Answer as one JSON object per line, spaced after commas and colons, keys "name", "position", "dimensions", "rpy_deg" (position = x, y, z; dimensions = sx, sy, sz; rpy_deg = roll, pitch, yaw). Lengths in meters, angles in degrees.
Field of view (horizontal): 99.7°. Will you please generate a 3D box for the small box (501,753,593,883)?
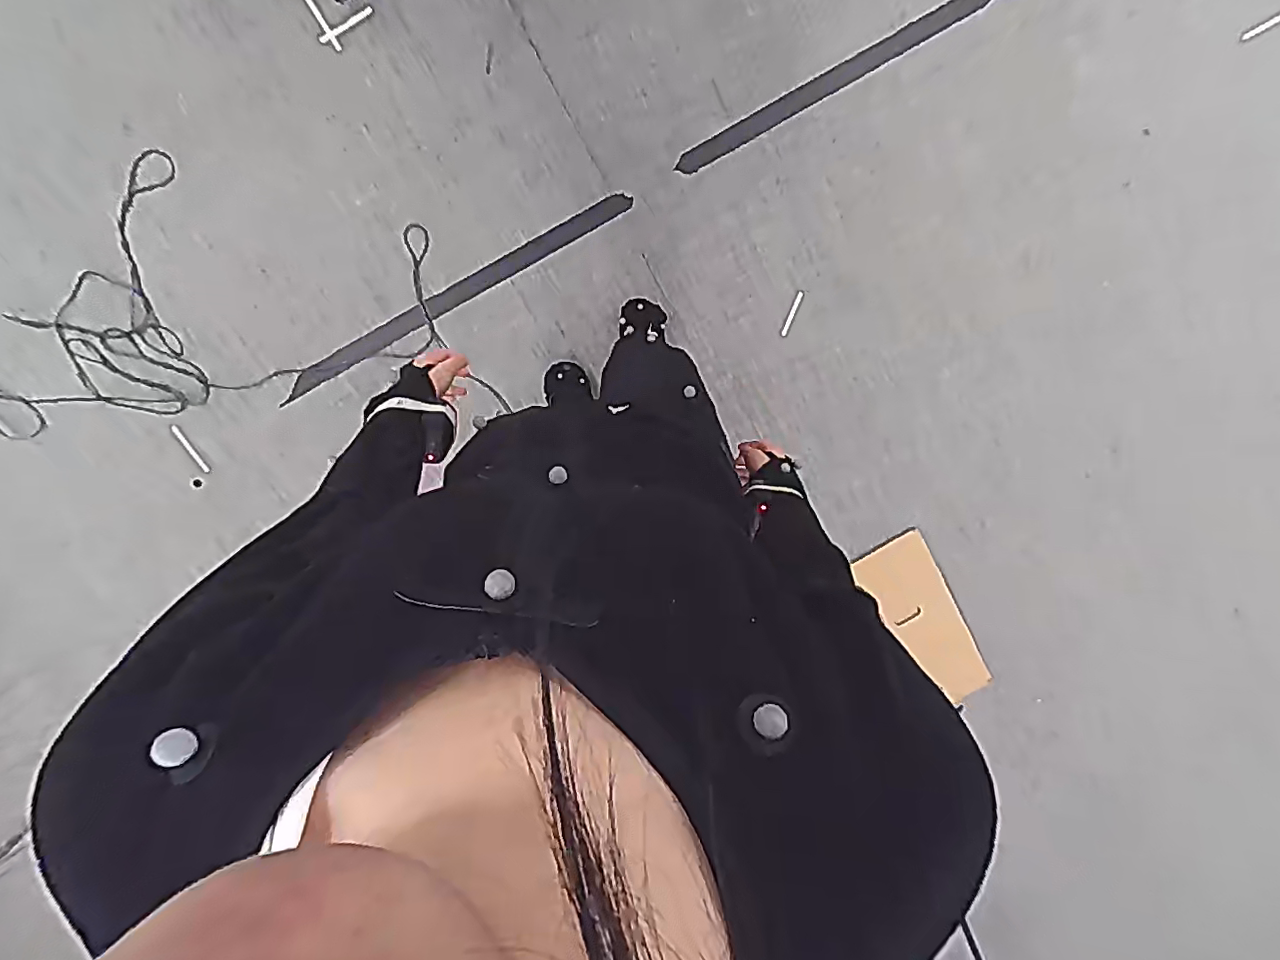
{"name": "small box", "position": [-0.211, 0.788, 1.272], "dimensions": [0.168, 0.176, 0.179], "rpy_deg": [18, 101, -7]}
